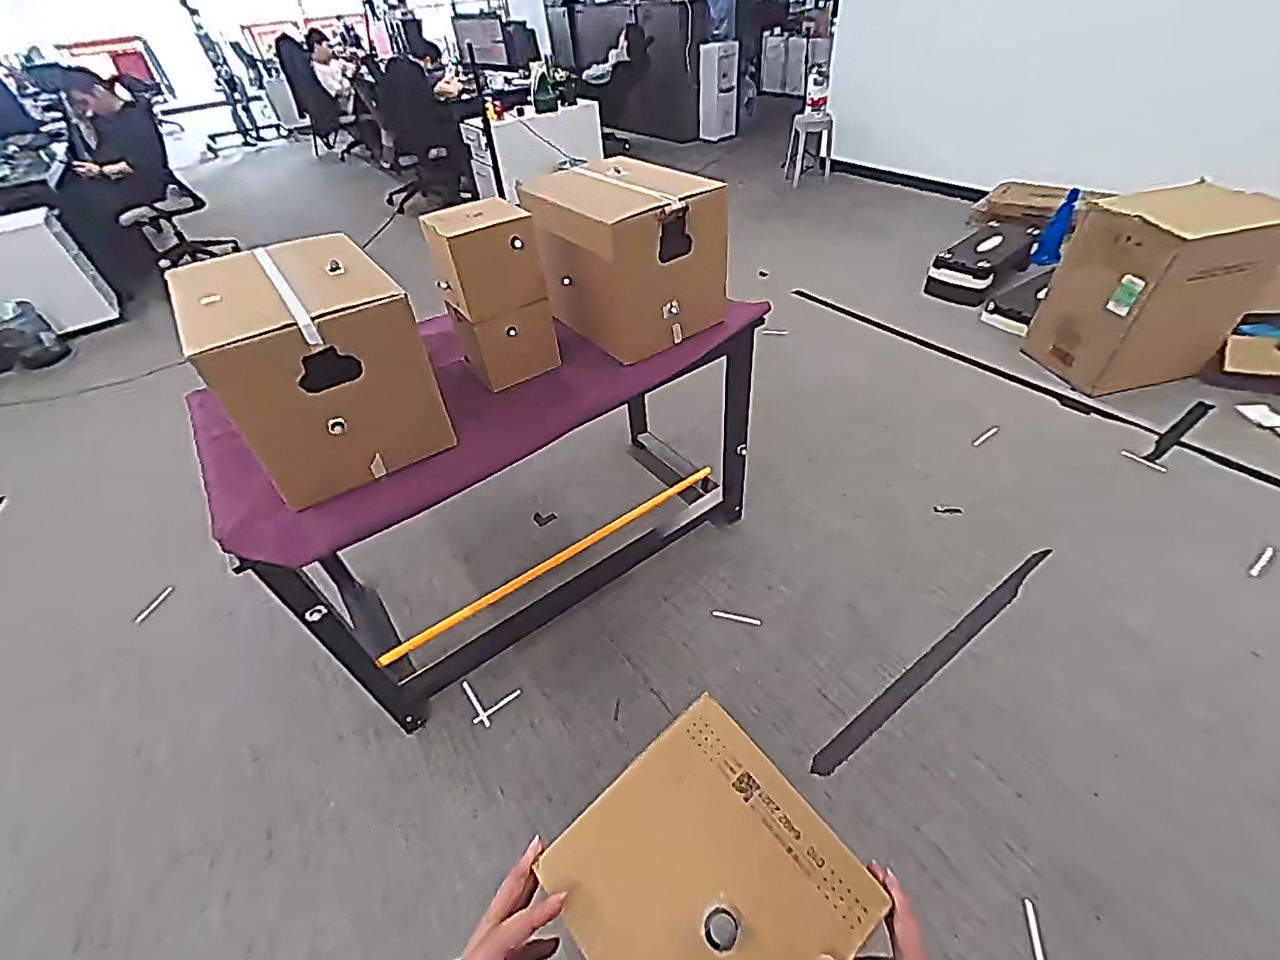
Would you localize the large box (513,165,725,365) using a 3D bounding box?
[{"bbox_3d":[-0.043,-0.527,1.298,0.320,0.320,0.408,-29,47,-24],"label":"large box"}]
